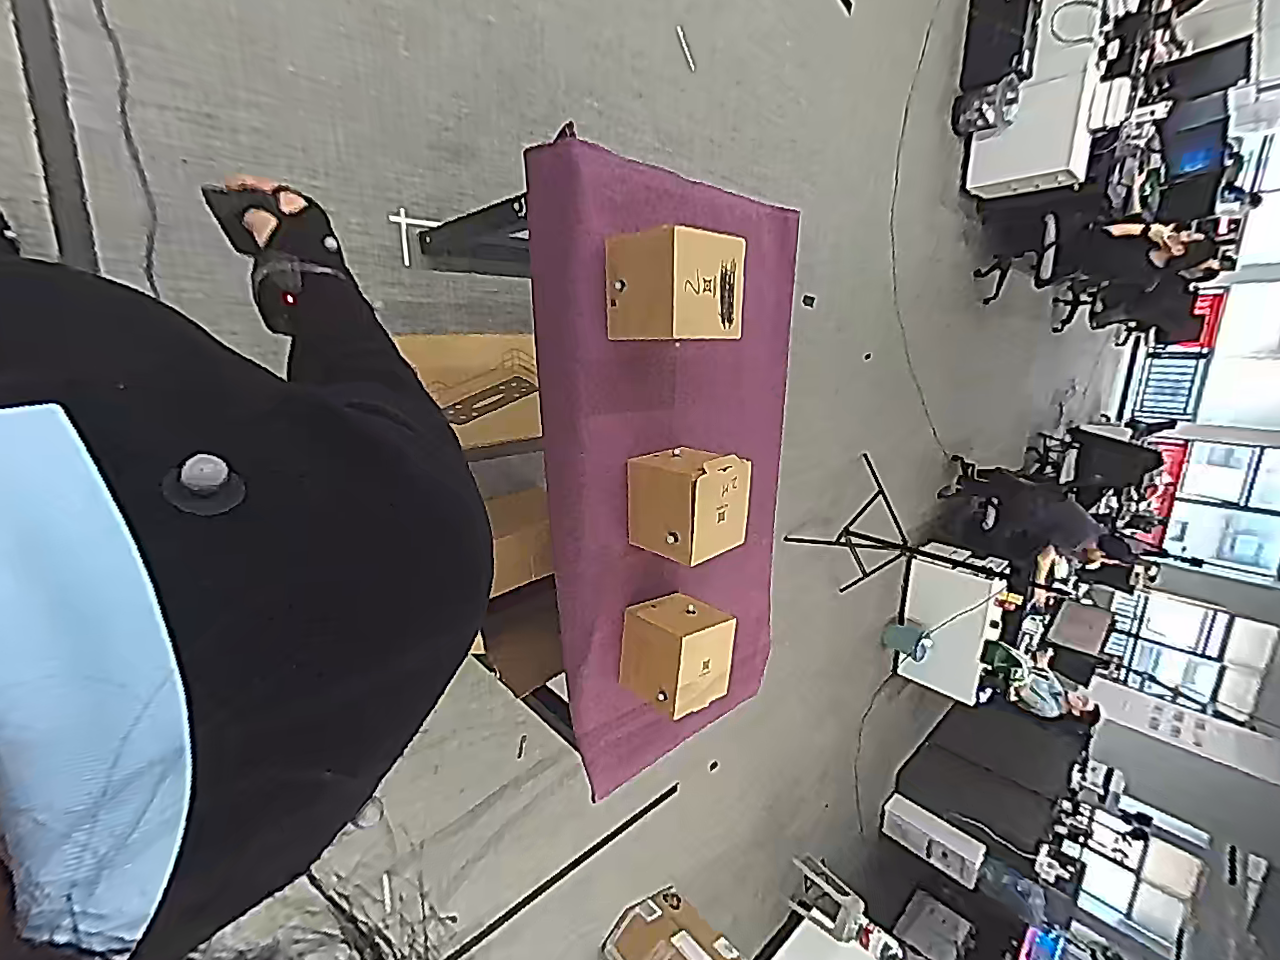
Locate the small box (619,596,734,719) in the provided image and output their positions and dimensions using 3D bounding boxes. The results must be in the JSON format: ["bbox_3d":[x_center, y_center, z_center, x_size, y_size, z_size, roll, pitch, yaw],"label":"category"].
[{"bbox_3d":[0.073,0.356,1.131,0.168,0.176,0.179,-5,104,-43],"label":"small box"}]

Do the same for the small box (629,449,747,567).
[{"bbox_3d":[0.090,0.046,1.063,0.168,0.176,0.179,-15,111,-43],"label":"small box"}]
